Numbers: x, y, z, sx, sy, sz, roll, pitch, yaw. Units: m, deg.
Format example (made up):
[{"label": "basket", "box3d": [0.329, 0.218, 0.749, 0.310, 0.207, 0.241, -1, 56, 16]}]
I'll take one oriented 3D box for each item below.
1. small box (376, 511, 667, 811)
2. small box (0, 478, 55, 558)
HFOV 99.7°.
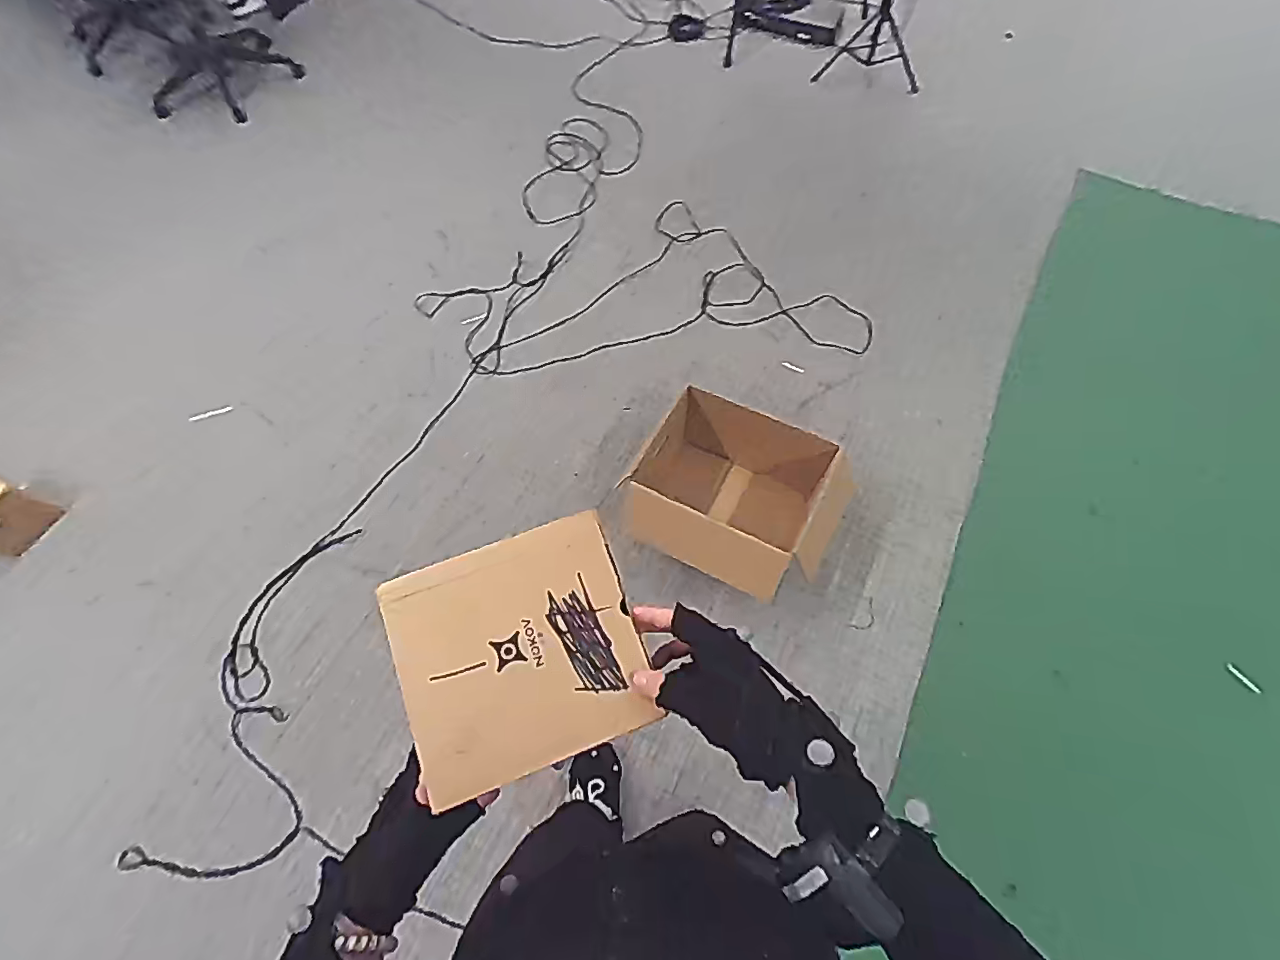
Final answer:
[{"label": "small box", "box3d": [-0.093, 0.143, 0.468, 0.179, 0.176, 0.168, -19, 75, -9]}, {"label": "small box", "box3d": [-1.810, 0.091, 1.504, 0.168, 0.176, 0.179, 24, 68, 12]}]
